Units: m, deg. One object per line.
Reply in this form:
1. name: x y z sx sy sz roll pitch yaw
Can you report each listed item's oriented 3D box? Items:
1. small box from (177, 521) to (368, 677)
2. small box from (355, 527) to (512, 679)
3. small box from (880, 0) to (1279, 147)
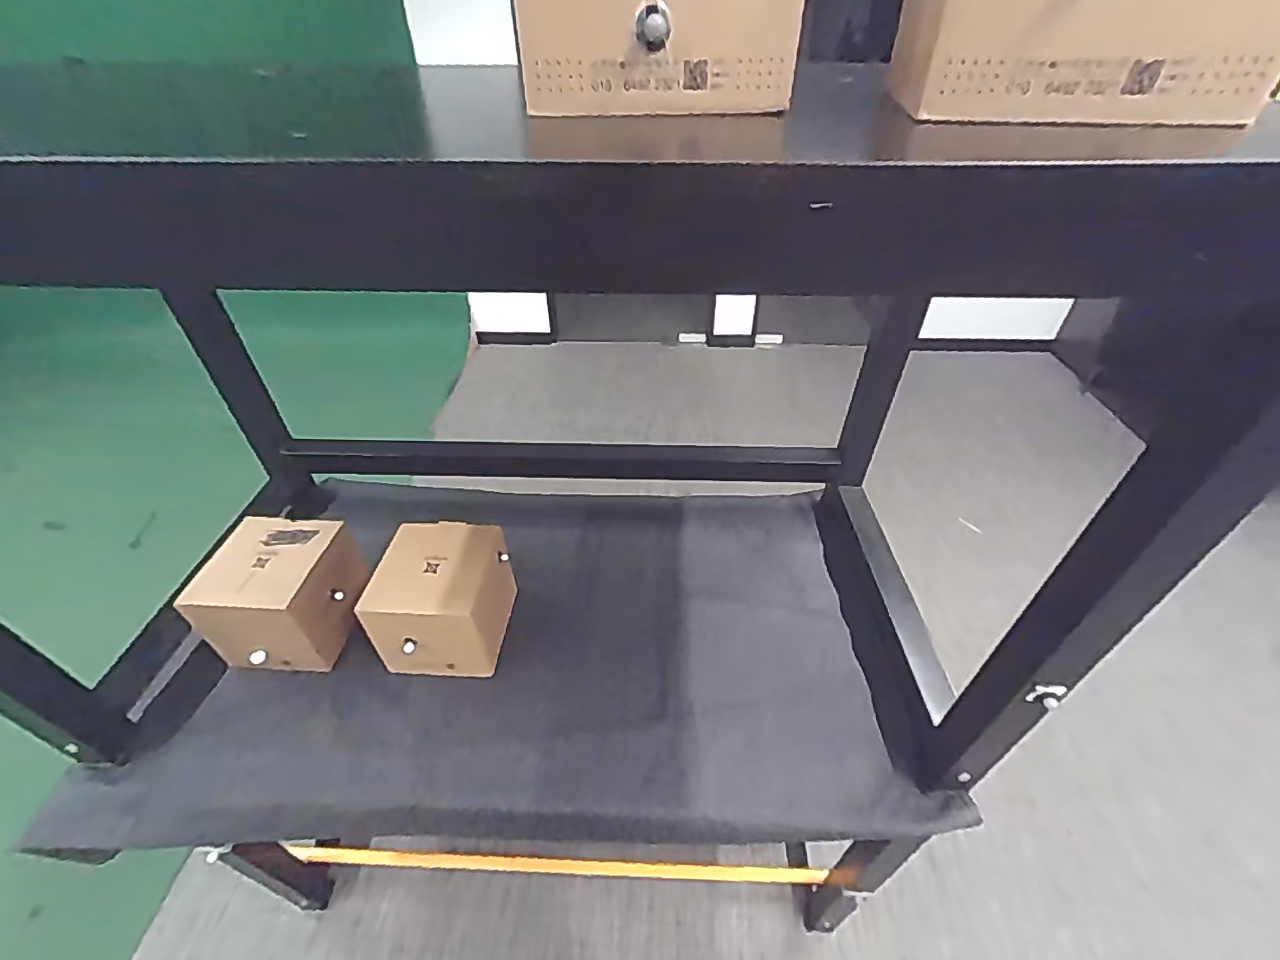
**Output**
1. small box: -0.563 0.188 0.865 0.168 0.176 0.179 2 41 2
2. small box: -0.310 0.196 0.859 0.168 0.176 0.179 2 40 2
3. small box: 0.252 -0.303 0.313 0.168 0.176 0.179 9 41 10
